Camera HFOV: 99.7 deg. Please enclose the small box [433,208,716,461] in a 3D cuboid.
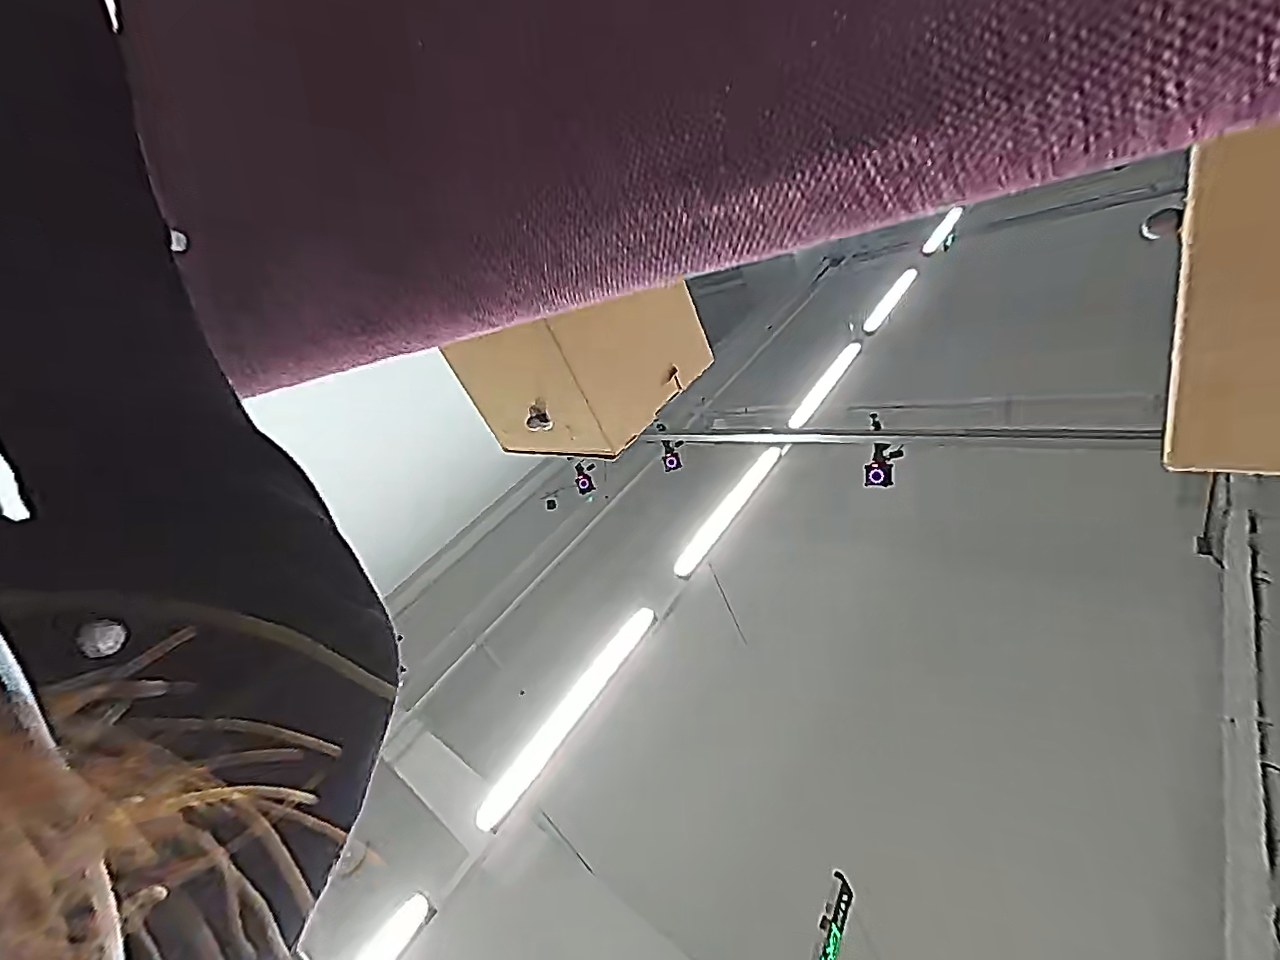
[{"bbox_3d":[-0.062,-0.135,0.516,0.179,0.176,0.168,5,-138,44],"label":"small box"}]
